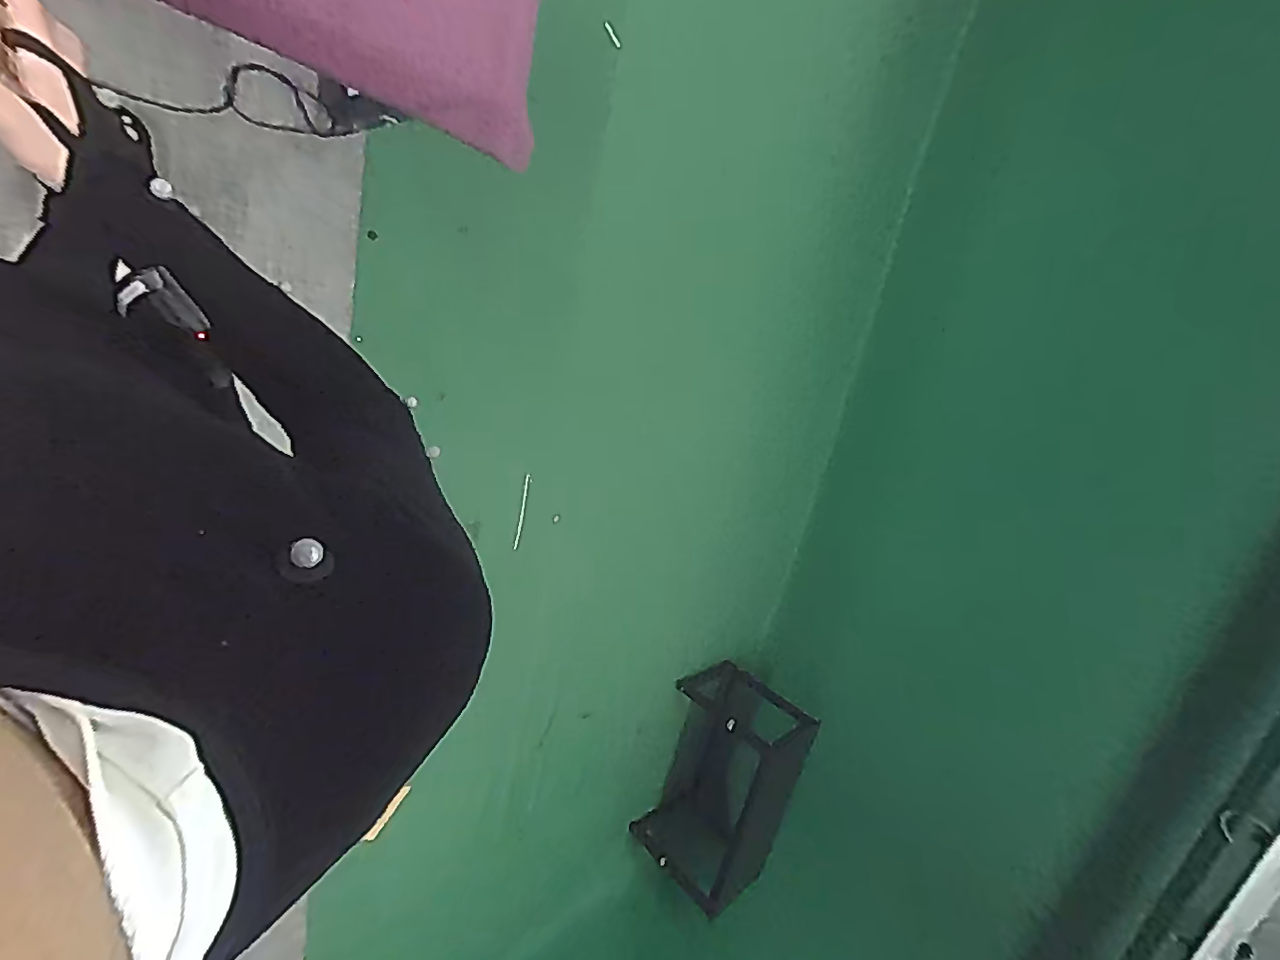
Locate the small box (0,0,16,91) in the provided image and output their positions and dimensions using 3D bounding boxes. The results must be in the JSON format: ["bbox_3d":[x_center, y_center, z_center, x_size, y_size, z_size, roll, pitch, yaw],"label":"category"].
[{"bbox_3d":[-0.550,-0.406,0.350,0.168,0.176,0.179,-11,101,-44],"label":"small box"}]
